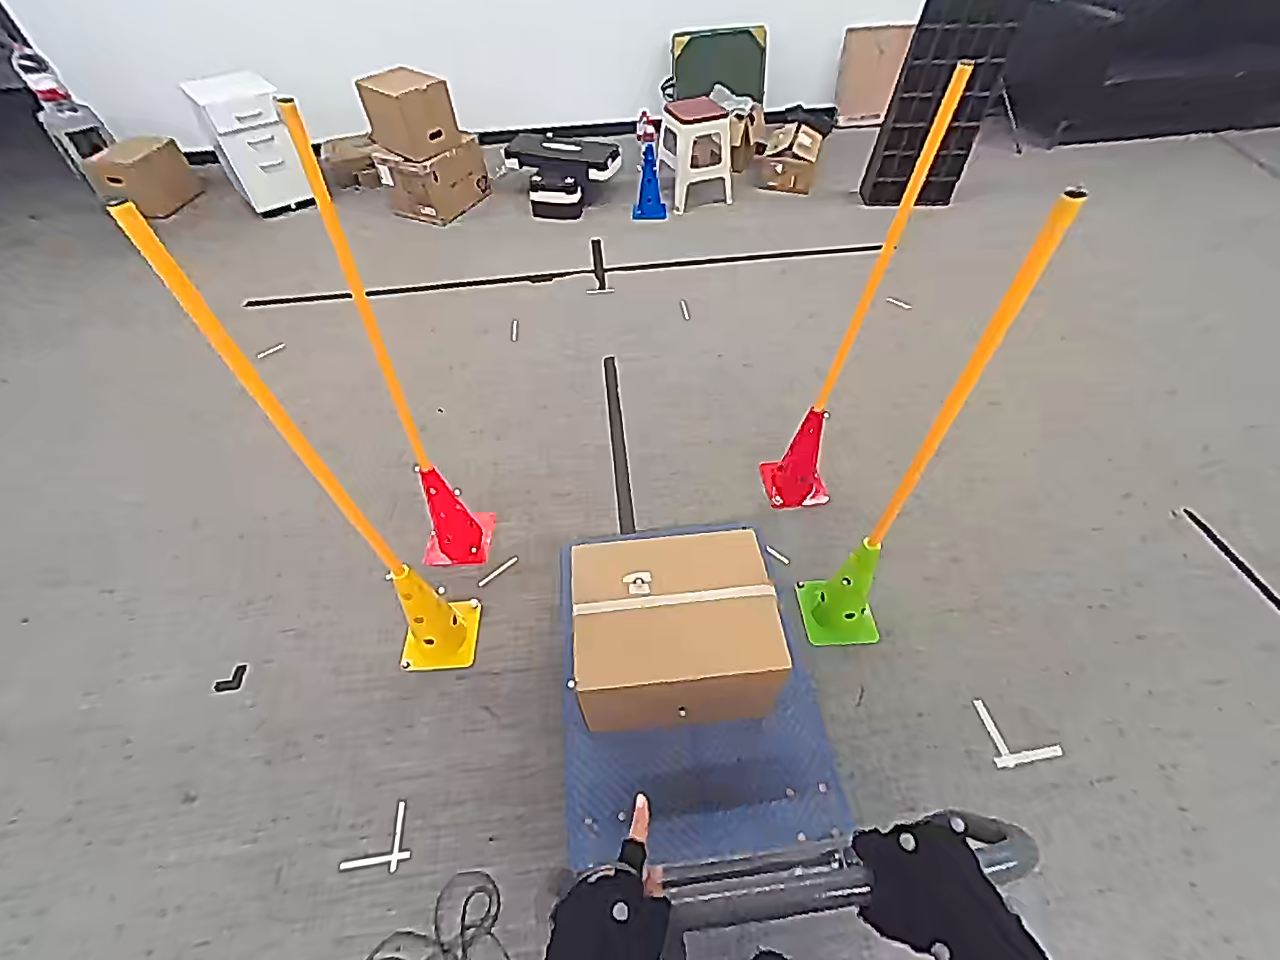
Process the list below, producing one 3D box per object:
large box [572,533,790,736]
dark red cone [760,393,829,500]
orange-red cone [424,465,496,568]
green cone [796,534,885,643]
[{"bbox_3d":[0.073,0.349,1.199,0.408,0.320,0.320,-6,51,-2],"label":"large box"},{"bbox_3d":[0.530,-0.116,1.736,0.201,0.394,0.202,-5,50,-5],"label":"dark red cone"},{"bbox_3d":[-0.581,0.085,1.630,0.198,0.360,0.199,0,49,1],"label":"orange-red cone"},{"bbox_3d":[0.568,0.266,1.438,0.202,0.368,0.200,-2,50,-2],"label":"green cone"}]
